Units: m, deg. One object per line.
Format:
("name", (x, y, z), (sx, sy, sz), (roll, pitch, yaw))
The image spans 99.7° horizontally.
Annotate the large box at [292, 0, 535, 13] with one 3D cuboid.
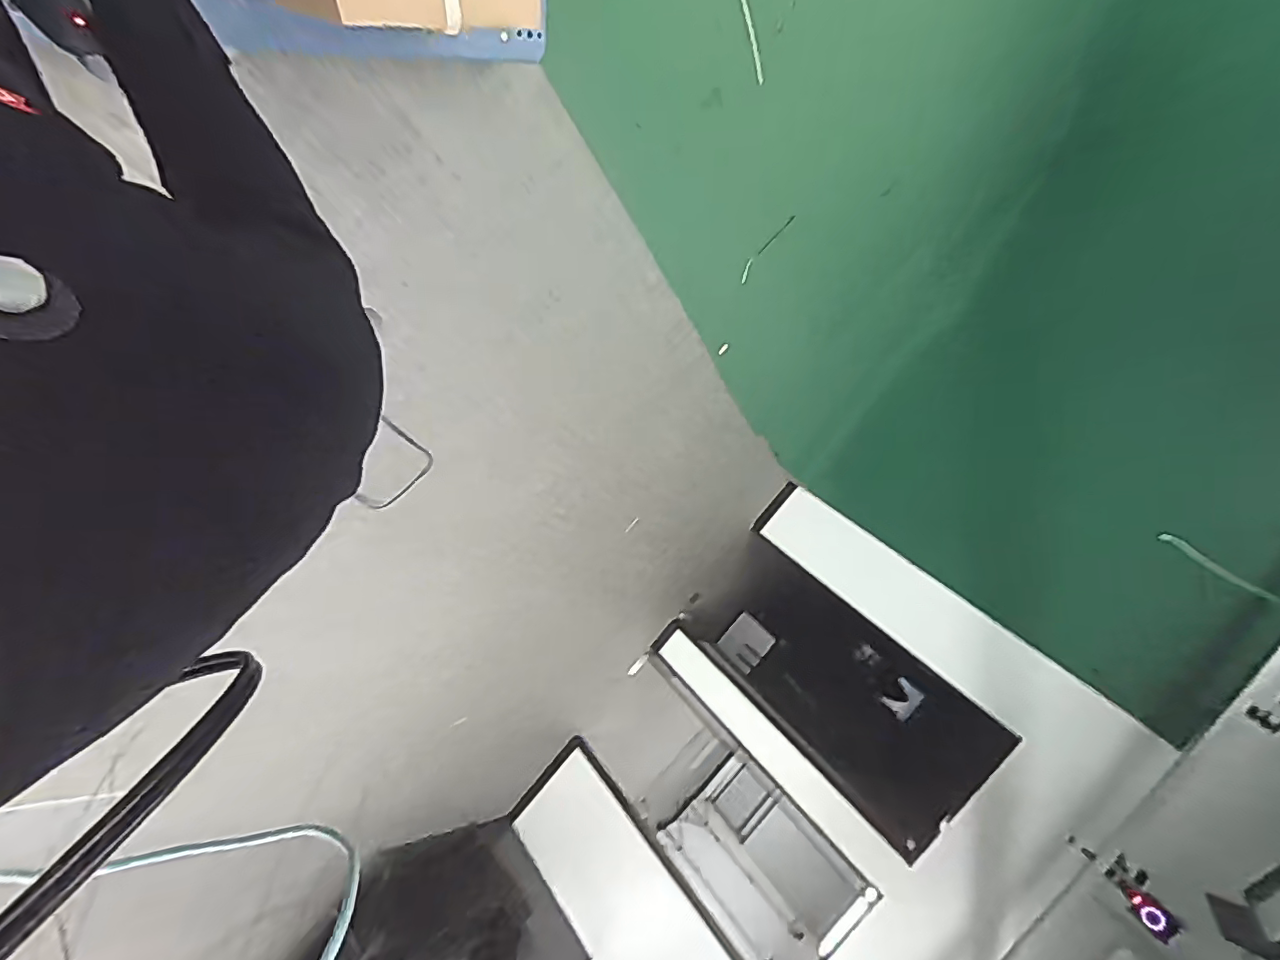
("large box", (-0.370, -0.910, 0.737), (0.320, 0.320, 0.408), (-29, 142, -30))
